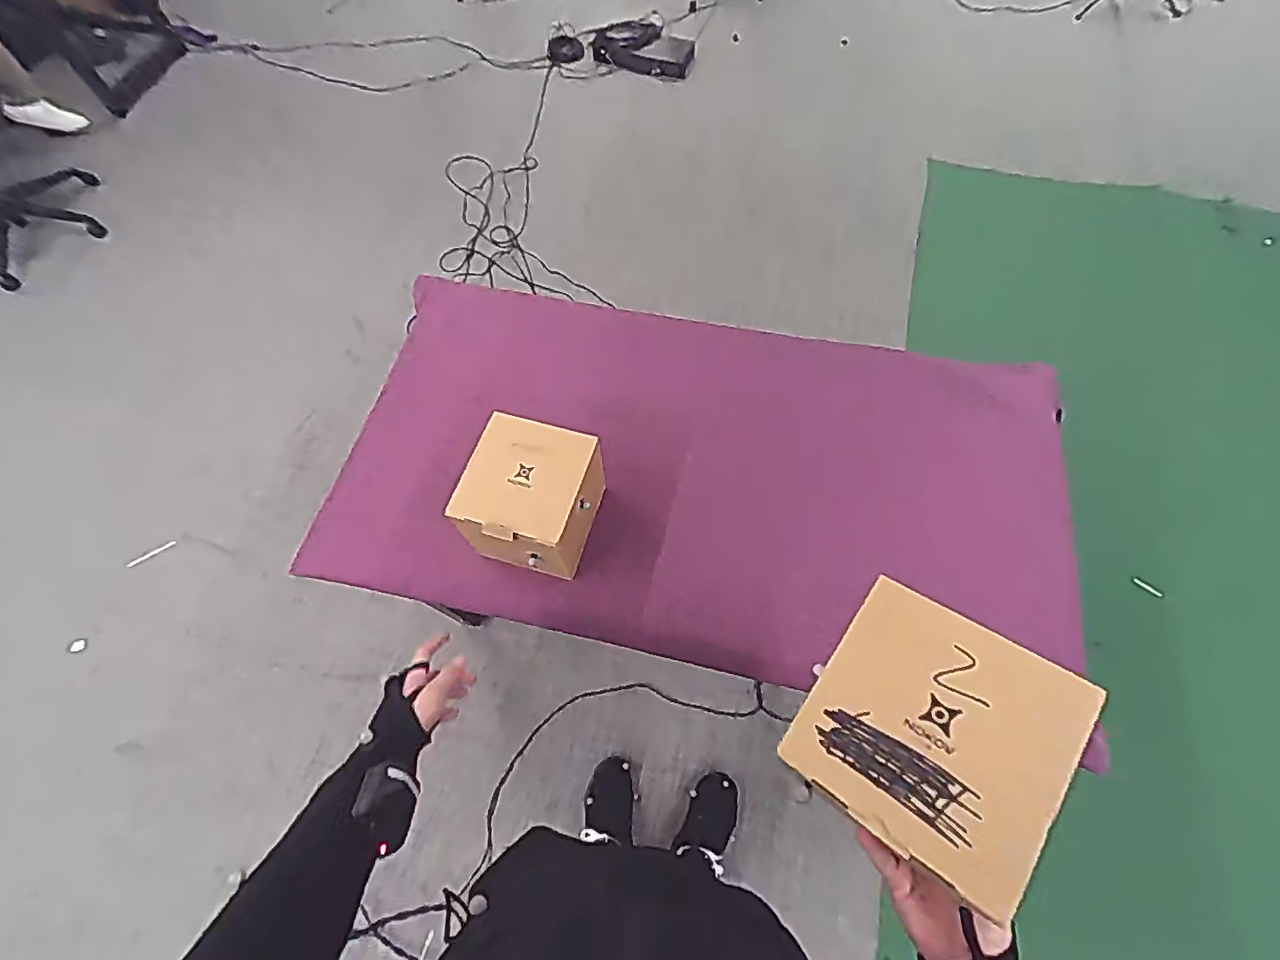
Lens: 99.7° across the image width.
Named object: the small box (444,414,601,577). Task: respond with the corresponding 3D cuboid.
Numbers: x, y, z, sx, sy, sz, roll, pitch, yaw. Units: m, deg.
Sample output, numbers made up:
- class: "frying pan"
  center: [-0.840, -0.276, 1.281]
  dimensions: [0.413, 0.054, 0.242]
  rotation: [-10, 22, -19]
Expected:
- class: "small box"
  center: [-0.164, 0.031, 0.830]
  dimensions: [0.168, 0.176, 0.179]
  rotation: [15, 64, 8]
